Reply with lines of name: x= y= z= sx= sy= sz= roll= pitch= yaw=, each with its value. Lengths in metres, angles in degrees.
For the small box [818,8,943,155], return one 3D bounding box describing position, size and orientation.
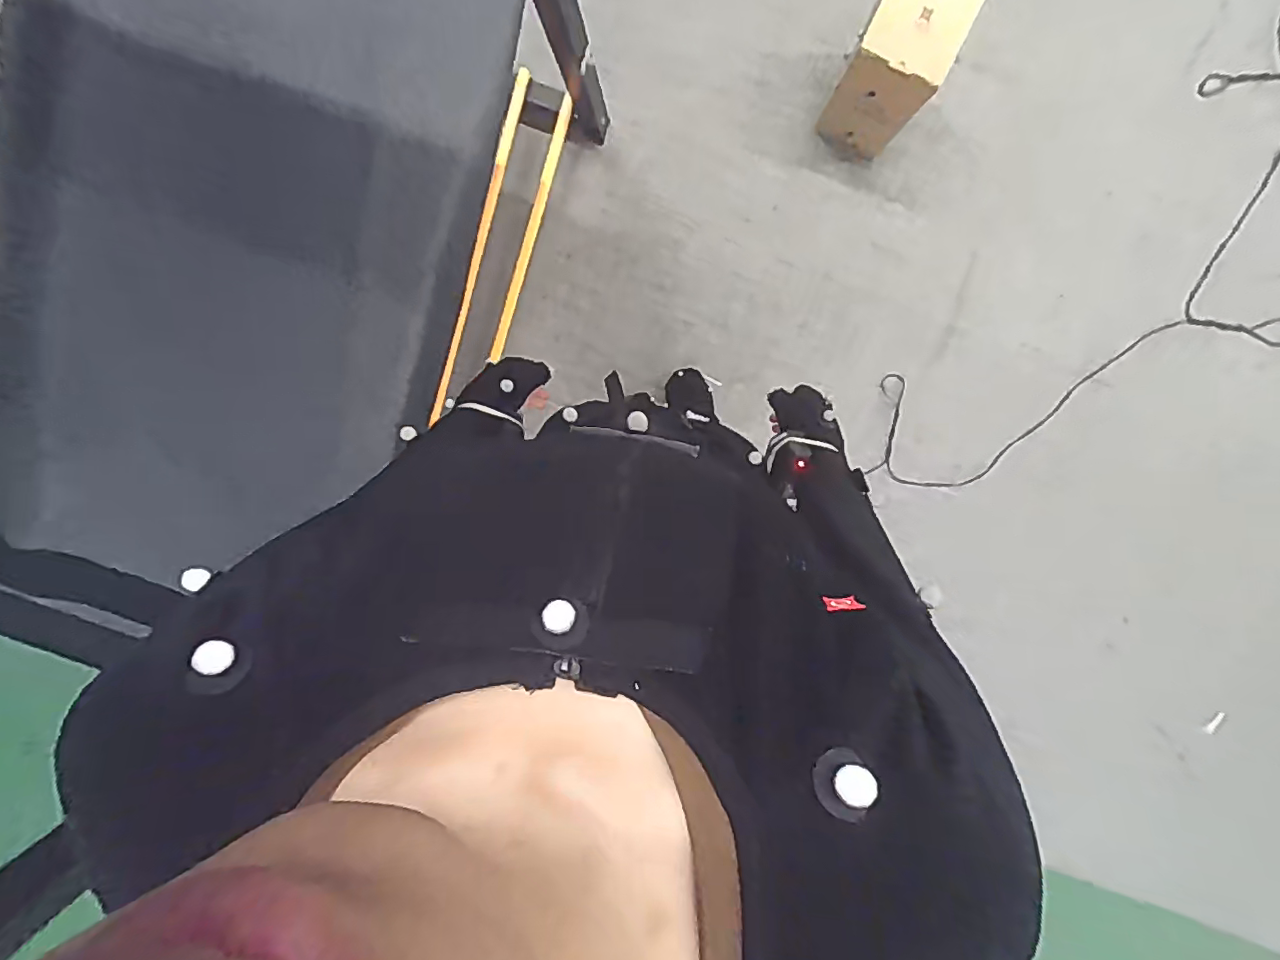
small box: x=0.517 y=-0.868 z=1.196 sx=0.168 sy=0.176 sz=0.179 roll=26 pitch=103 yaw=-1
